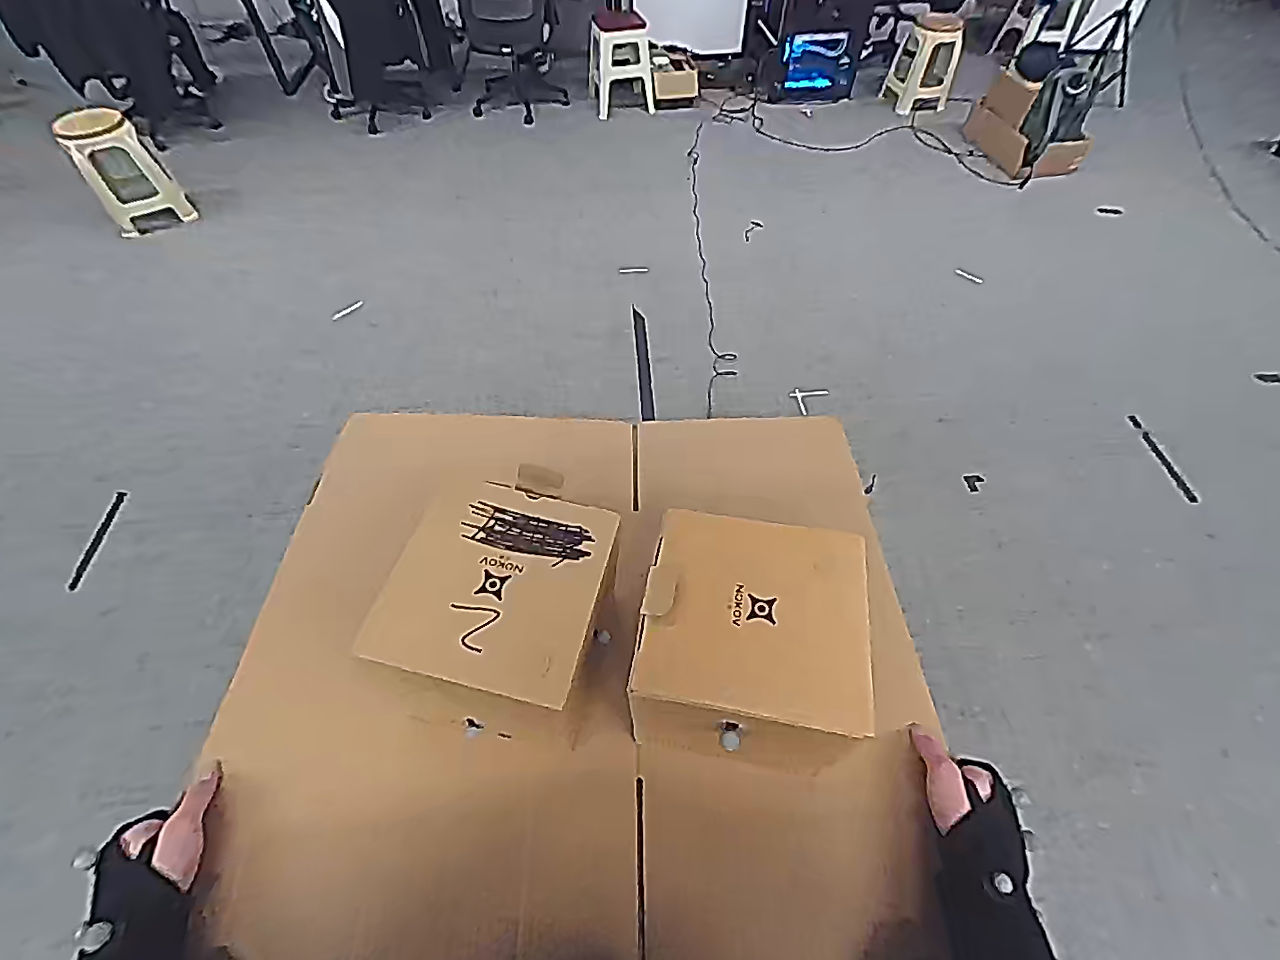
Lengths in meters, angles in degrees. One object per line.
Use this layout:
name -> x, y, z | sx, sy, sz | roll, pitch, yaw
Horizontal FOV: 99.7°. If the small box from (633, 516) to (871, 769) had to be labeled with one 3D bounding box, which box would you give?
small box -> 0.098, 0.157, 0.505 | 0.179, 0.176, 0.168 | 7, 54, 9
